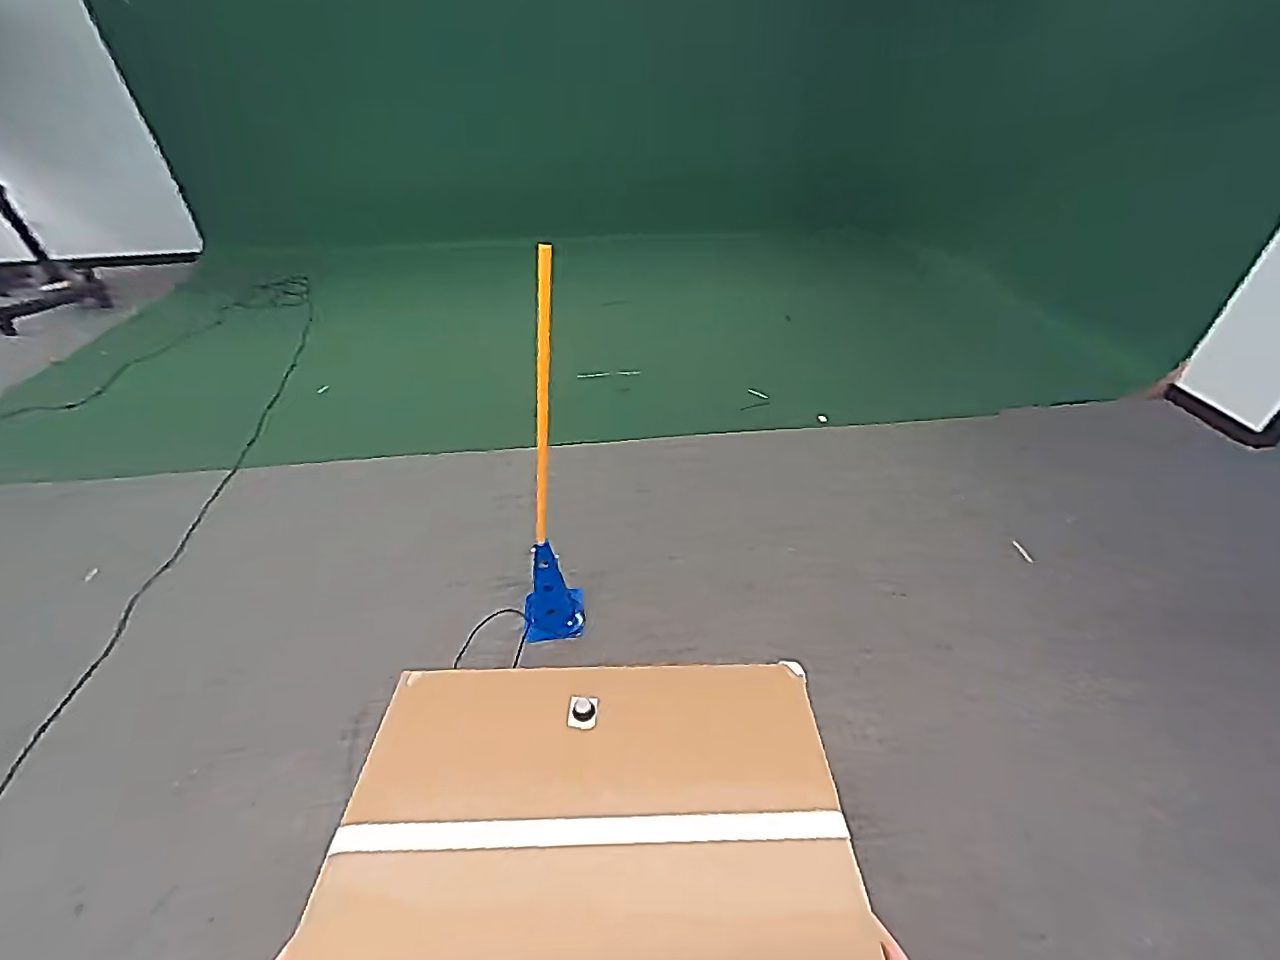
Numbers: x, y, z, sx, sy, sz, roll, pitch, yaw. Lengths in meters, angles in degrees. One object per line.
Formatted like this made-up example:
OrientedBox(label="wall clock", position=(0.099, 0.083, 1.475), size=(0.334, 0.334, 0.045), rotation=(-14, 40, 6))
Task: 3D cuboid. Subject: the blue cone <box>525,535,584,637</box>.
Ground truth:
OrientedBox(label="blue cone", position=(-0.286, 0.311, 1.711), size=(0.193, 0.380, 0.192), rotation=(-5, 40, -8))
